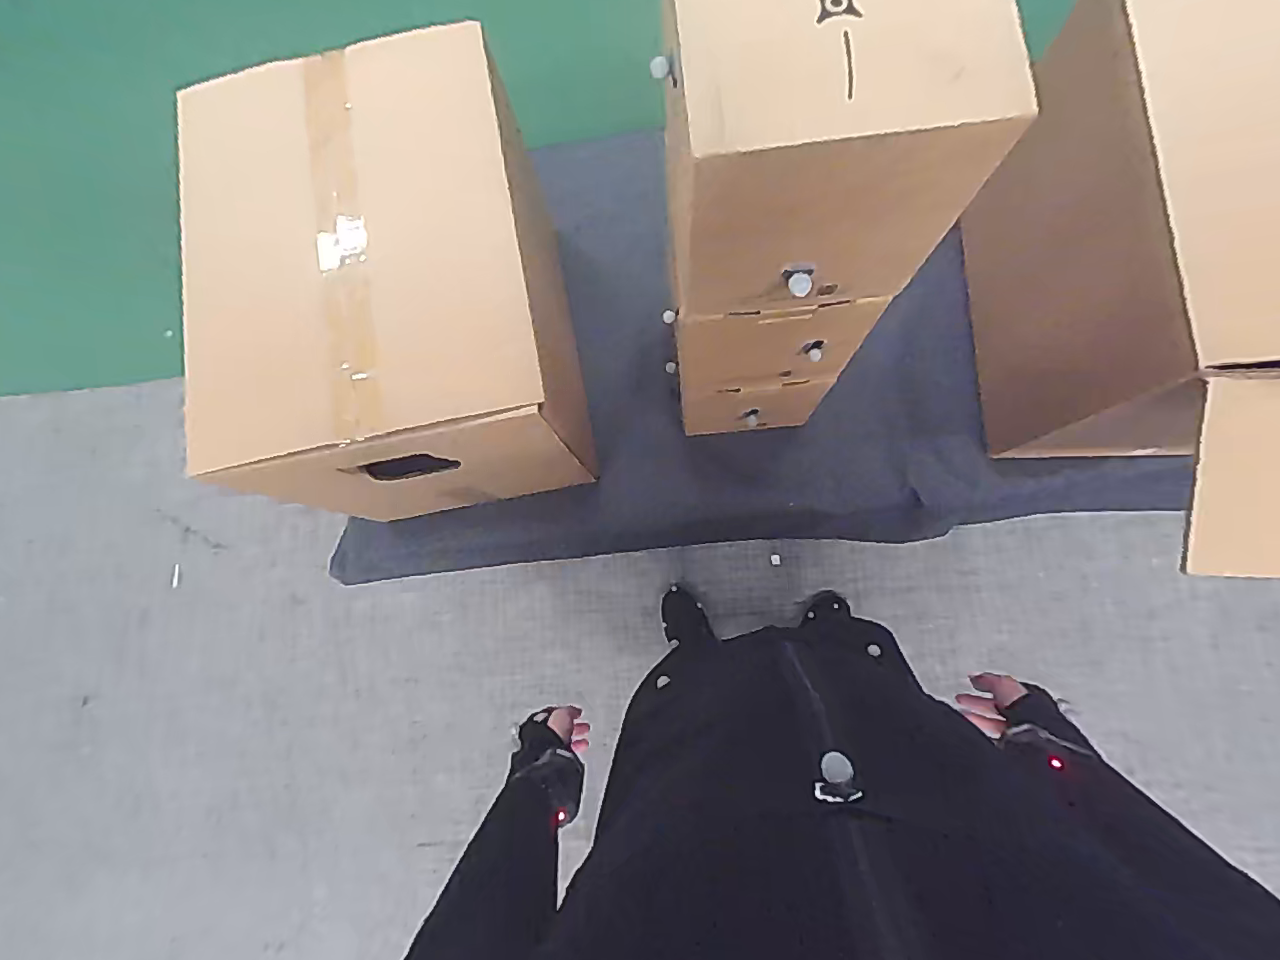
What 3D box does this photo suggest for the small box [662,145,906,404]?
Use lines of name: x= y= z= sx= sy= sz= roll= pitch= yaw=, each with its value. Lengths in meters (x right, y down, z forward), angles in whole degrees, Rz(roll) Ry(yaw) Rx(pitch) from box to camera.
small box: x=0.113 y=-0.177 z=0.487 sx=0.168 sy=0.176 sz=0.179 roll=-7 pitch=78 yaw=3

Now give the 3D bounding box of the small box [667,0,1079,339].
small box: x=0.103 y=-0.207 z=0.326 sx=0.168 sy=0.176 sz=0.179 roll=-6 pitch=80 yaw=4
